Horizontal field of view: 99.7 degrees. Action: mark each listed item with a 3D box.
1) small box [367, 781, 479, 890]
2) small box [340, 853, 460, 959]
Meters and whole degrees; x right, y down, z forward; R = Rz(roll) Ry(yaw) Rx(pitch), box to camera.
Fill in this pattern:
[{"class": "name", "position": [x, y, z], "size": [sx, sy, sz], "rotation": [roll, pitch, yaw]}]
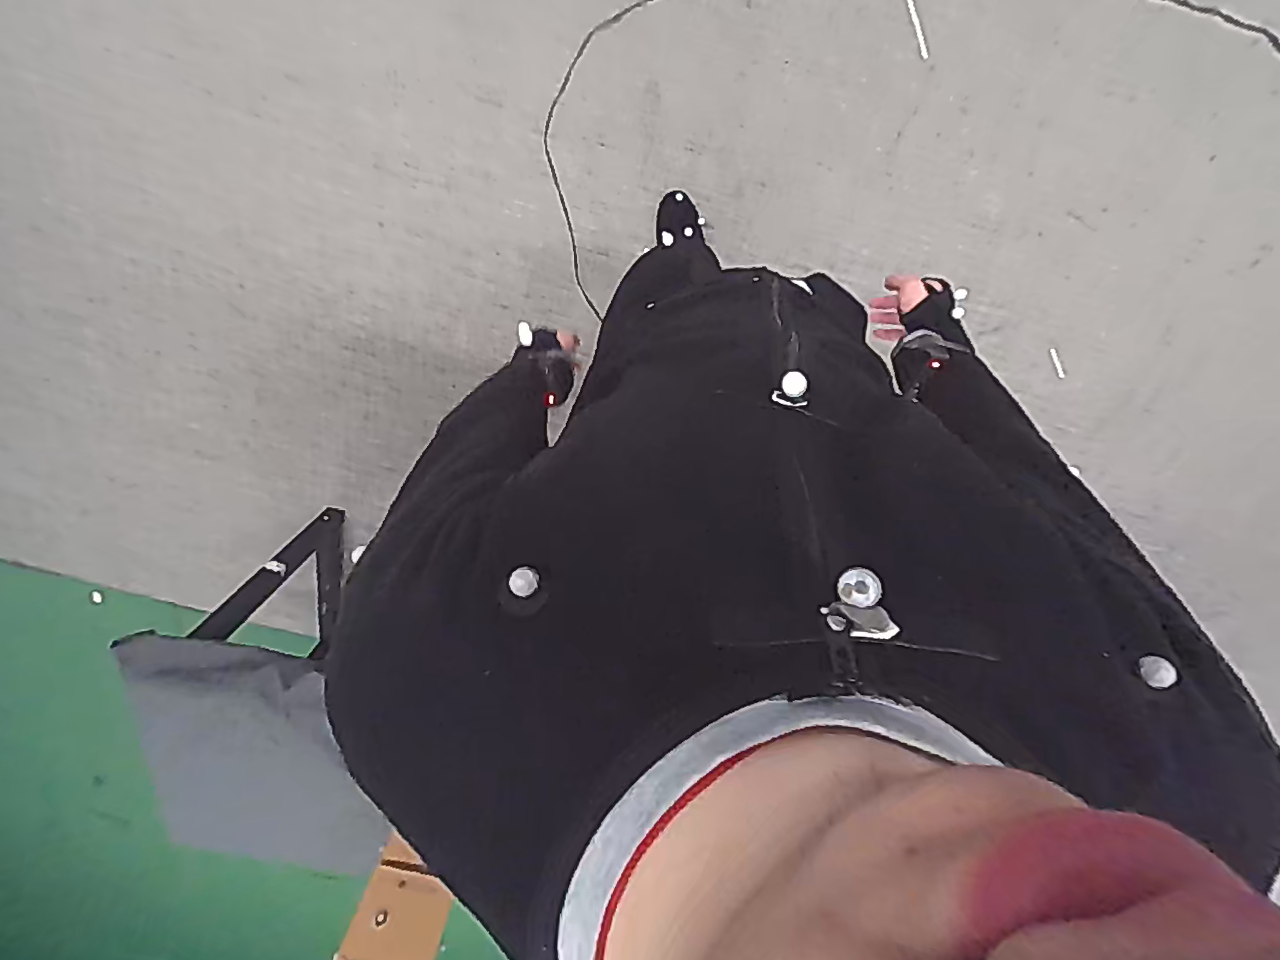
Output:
[{"class": "small box", "position": [-0.483, 0.823, 1.226], "size": [0.168, 0.176, 0.179], "rotation": [24, 116, -9]}, {"class": "small box", "position": [-0.474, 0.883, 1.073], "size": [0.168, 0.176, 0.179], "rotation": [19, 118, -5]}]
